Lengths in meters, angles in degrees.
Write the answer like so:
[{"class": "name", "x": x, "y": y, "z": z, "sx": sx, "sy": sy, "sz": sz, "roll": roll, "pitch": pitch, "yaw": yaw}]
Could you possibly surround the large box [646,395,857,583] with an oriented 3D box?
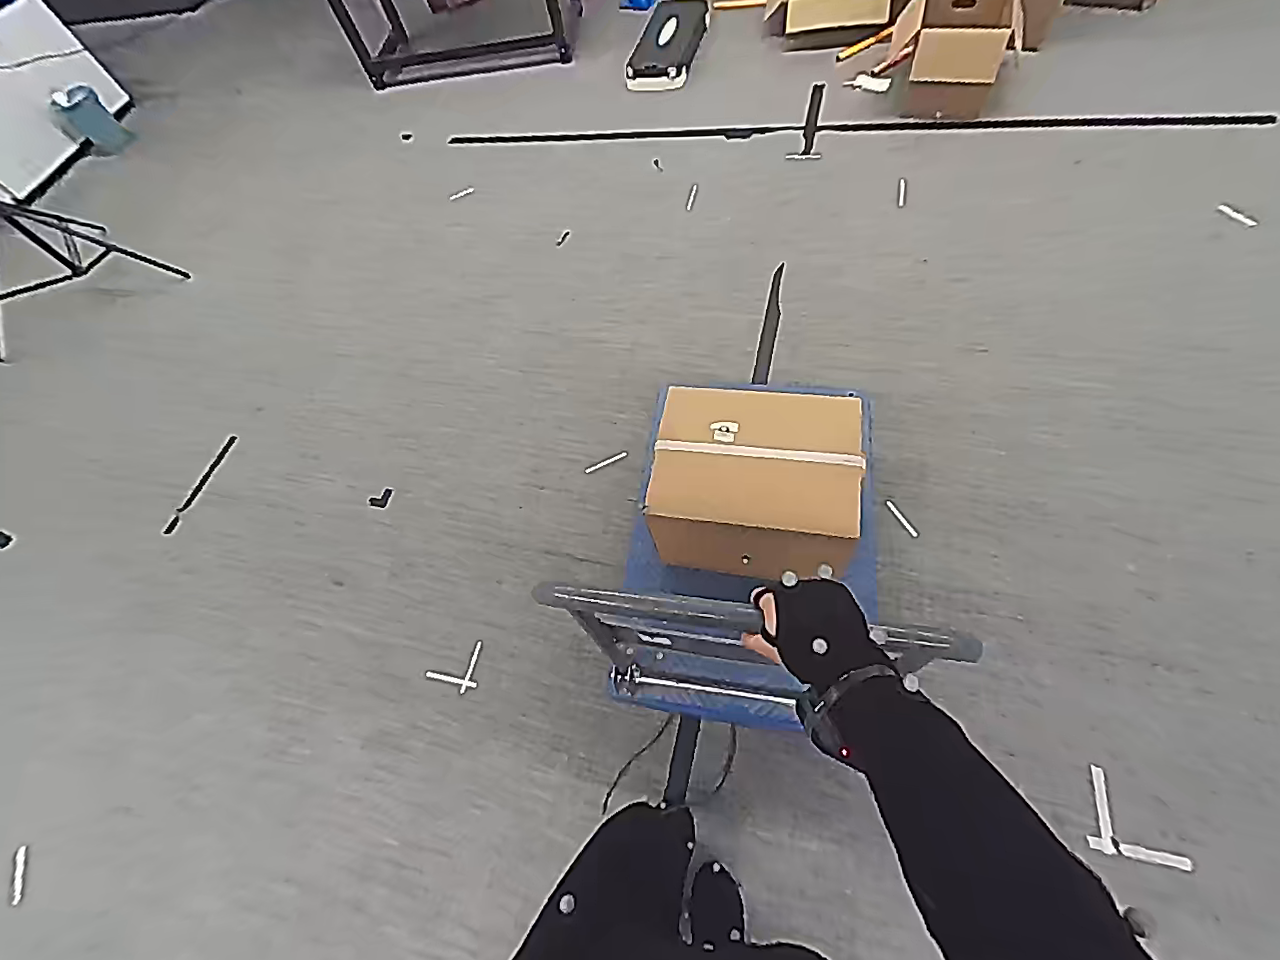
[{"class": "large box", "x": 0.258, "y": 0.026, "z": 1.230, "sx": 0.408, "sy": 0.320, "sz": 0.320, "roll": 5, "pitch": 62, "yaw": 14}]
